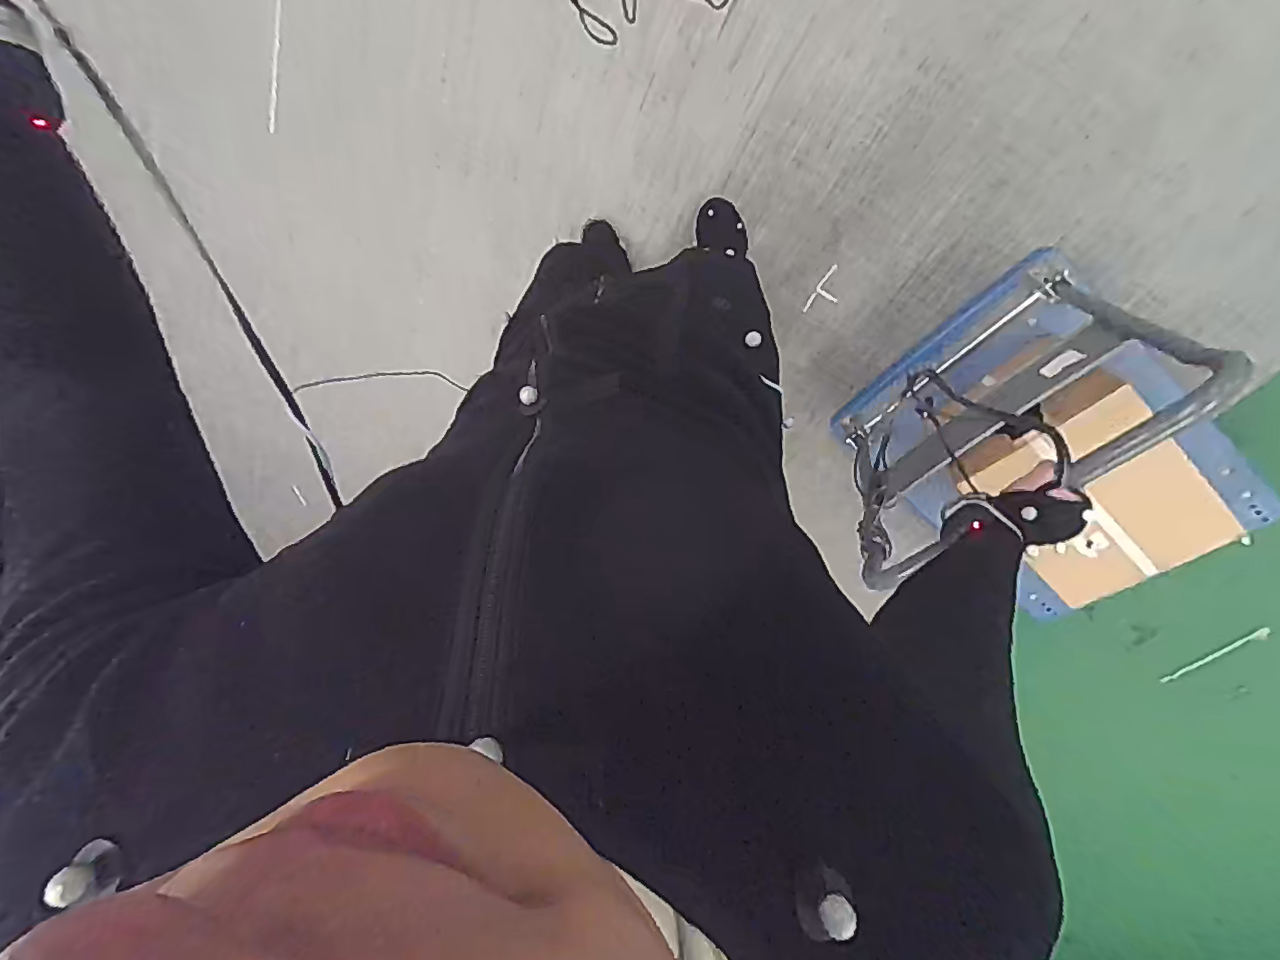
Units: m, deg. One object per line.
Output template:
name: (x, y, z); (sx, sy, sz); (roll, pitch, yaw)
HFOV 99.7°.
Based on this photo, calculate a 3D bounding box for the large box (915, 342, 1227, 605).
large box: (0.879, -0.020, 1.165); (0.408, 0.320, 0.320); (42, 122, -12)
